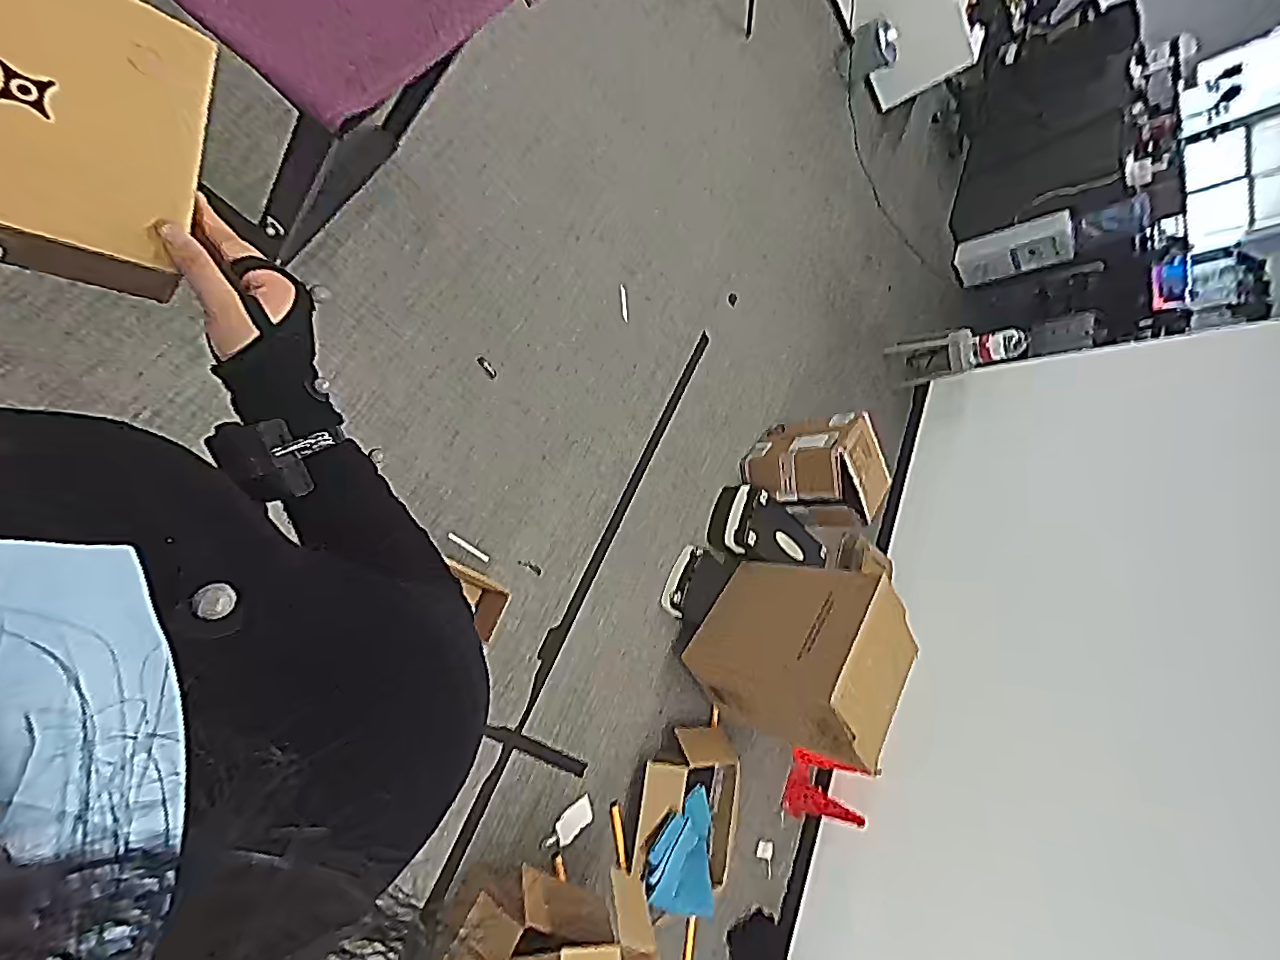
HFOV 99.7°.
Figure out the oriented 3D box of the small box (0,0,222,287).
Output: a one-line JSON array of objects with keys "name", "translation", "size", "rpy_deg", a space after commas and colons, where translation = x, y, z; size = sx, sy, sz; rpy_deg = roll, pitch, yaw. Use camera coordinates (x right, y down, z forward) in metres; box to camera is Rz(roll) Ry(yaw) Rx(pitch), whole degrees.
[{"name": "small box", "translation": [-0.421, -0.246, 0.377], "size": [0.179, 0.176, 0.168], "rpy_deg": [8, 92, -43]}]
